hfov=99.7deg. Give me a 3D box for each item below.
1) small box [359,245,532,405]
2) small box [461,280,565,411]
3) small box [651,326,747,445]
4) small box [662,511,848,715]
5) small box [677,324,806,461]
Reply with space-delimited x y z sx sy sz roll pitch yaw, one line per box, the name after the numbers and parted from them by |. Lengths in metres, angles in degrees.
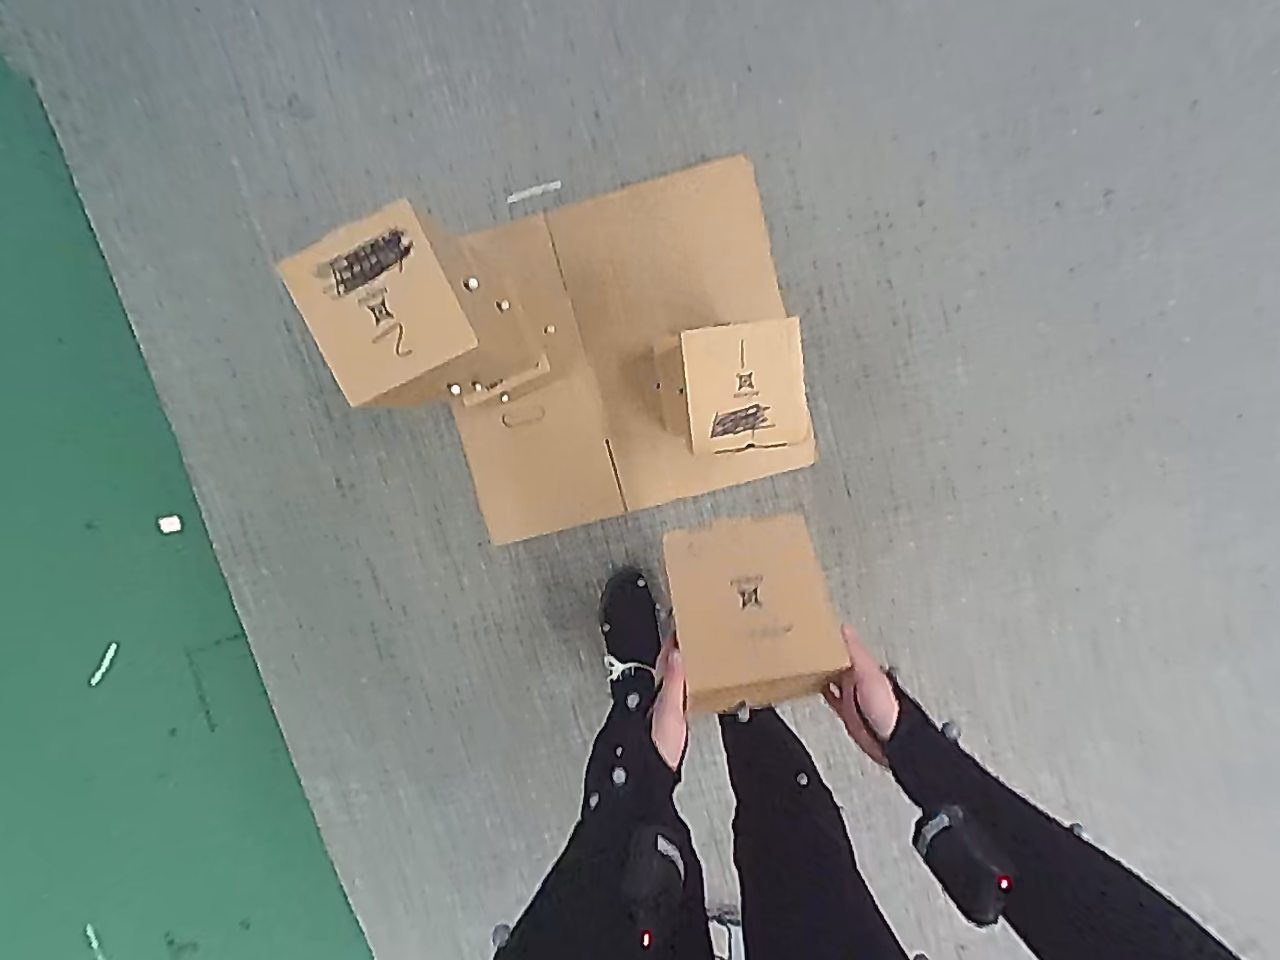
-0.283 -0.224 0.832 0.168 0.176 0.179 -22 95 3 | small box
-0.253 -0.235 0.995 0.168 0.176 0.179 -22 95 4 | small box
0.118 -0.167 0.987 0.168 0.176 0.179 -10 95 4 | small box
0.117 0.159 0.631 0.168 0.176 0.179 -8 58 0 | small box
0.147 -0.129 0.824 0.168 0.176 0.179 -6 95 3 | small box
